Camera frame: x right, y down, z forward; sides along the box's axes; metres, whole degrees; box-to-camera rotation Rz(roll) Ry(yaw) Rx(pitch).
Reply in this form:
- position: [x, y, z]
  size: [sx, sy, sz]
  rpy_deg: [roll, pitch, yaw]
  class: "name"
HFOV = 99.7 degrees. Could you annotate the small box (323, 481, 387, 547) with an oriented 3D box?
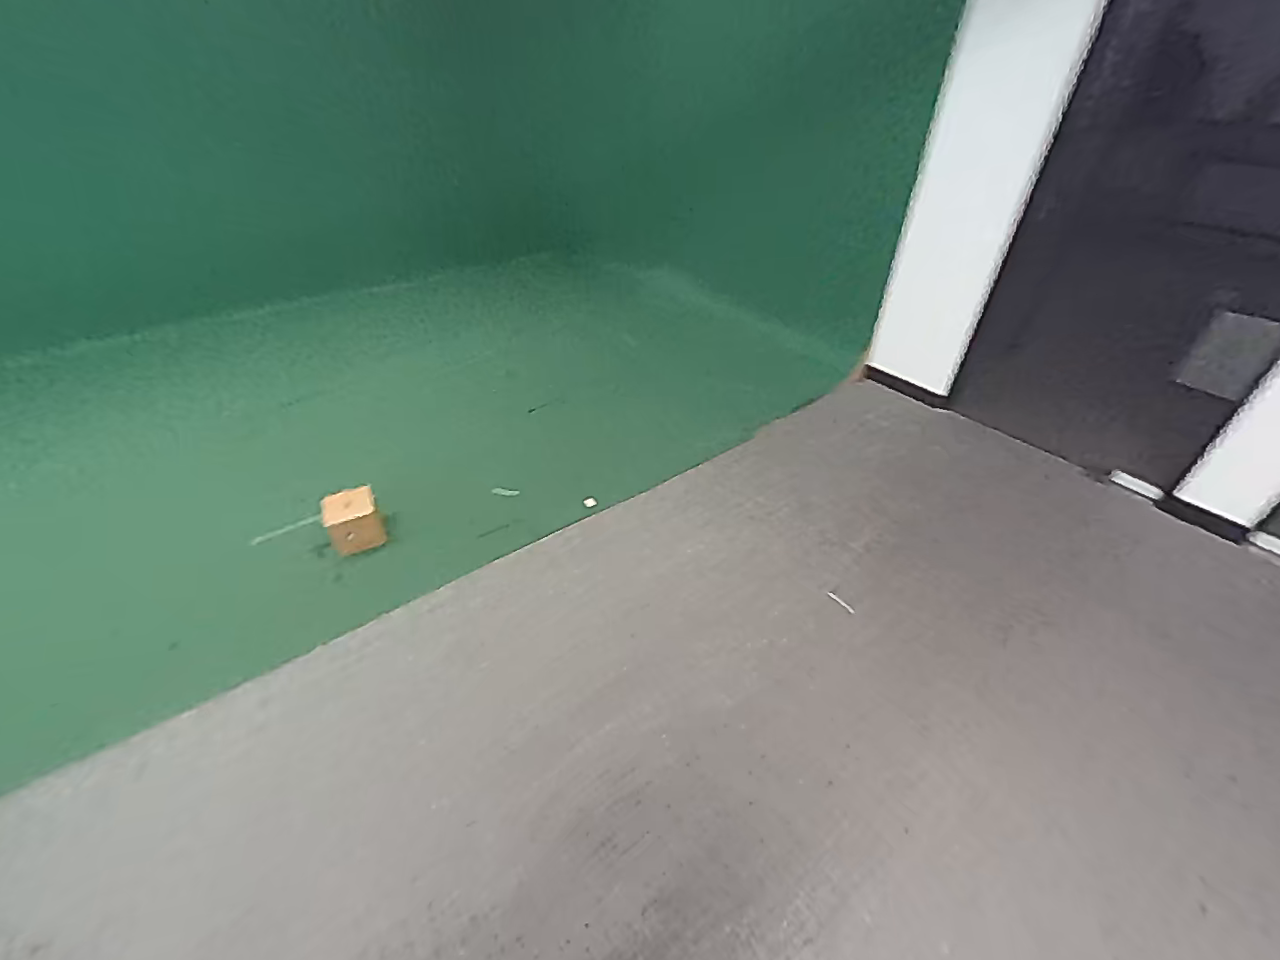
- position: [-1.083, 0.136, 2.059]
  size: [0.168, 0.176, 0.179]
  rpy_deg: [-18, 43, -22]
  class: "small box"
